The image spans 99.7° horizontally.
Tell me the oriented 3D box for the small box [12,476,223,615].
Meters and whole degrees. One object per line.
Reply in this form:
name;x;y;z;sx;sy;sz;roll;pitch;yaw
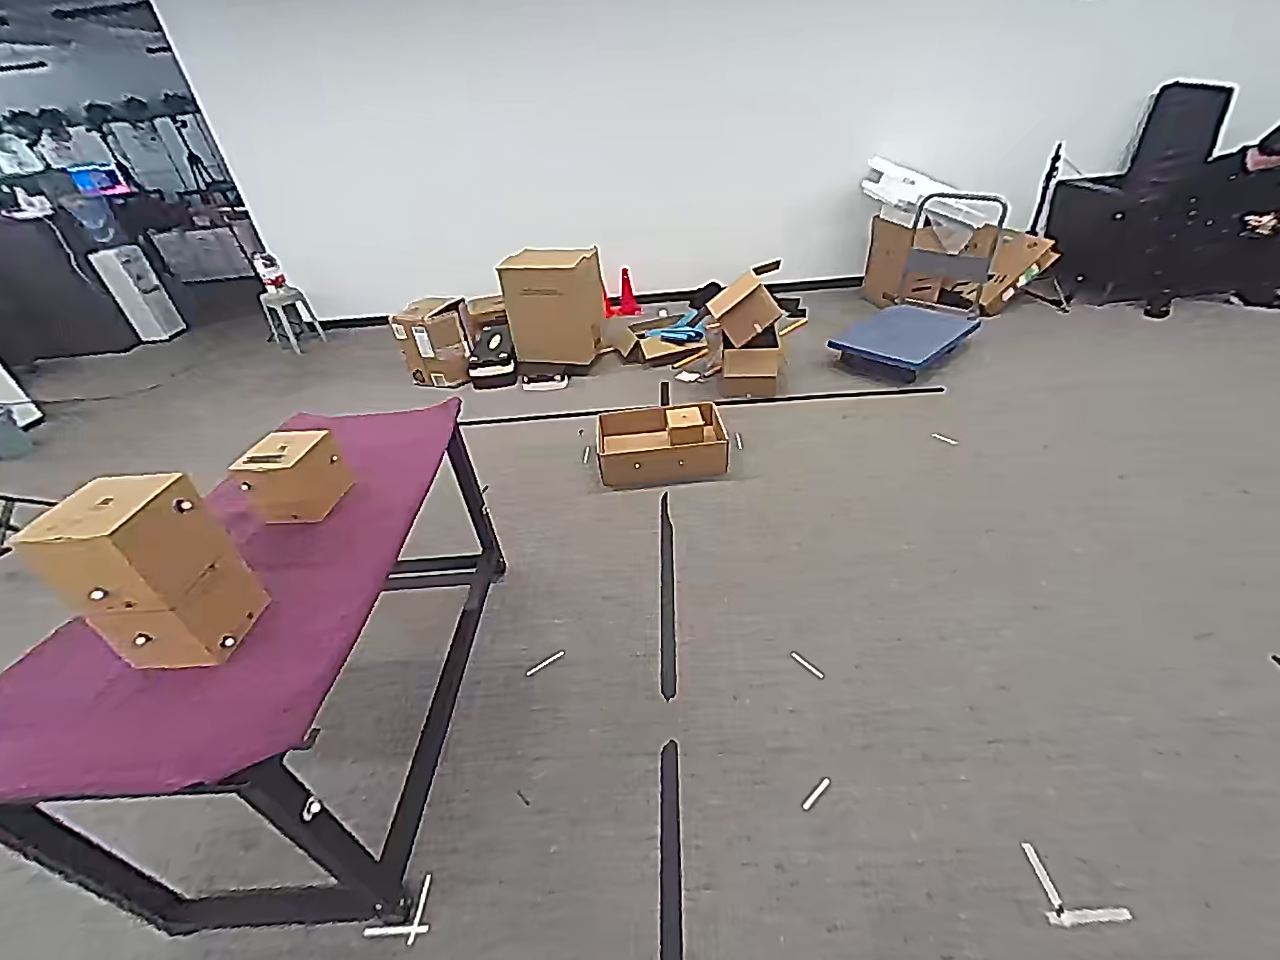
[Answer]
small box;-0.877;0.112;0.937;0.168;0.176;0.179;-4;35;3

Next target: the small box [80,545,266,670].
small box;-0.872;0.244;1.035;0.179;0.176;0.168;-4;35;3

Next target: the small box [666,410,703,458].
small box;0.219;-0.231;2.702;0.168;0.176;0.179;-7;36;0
